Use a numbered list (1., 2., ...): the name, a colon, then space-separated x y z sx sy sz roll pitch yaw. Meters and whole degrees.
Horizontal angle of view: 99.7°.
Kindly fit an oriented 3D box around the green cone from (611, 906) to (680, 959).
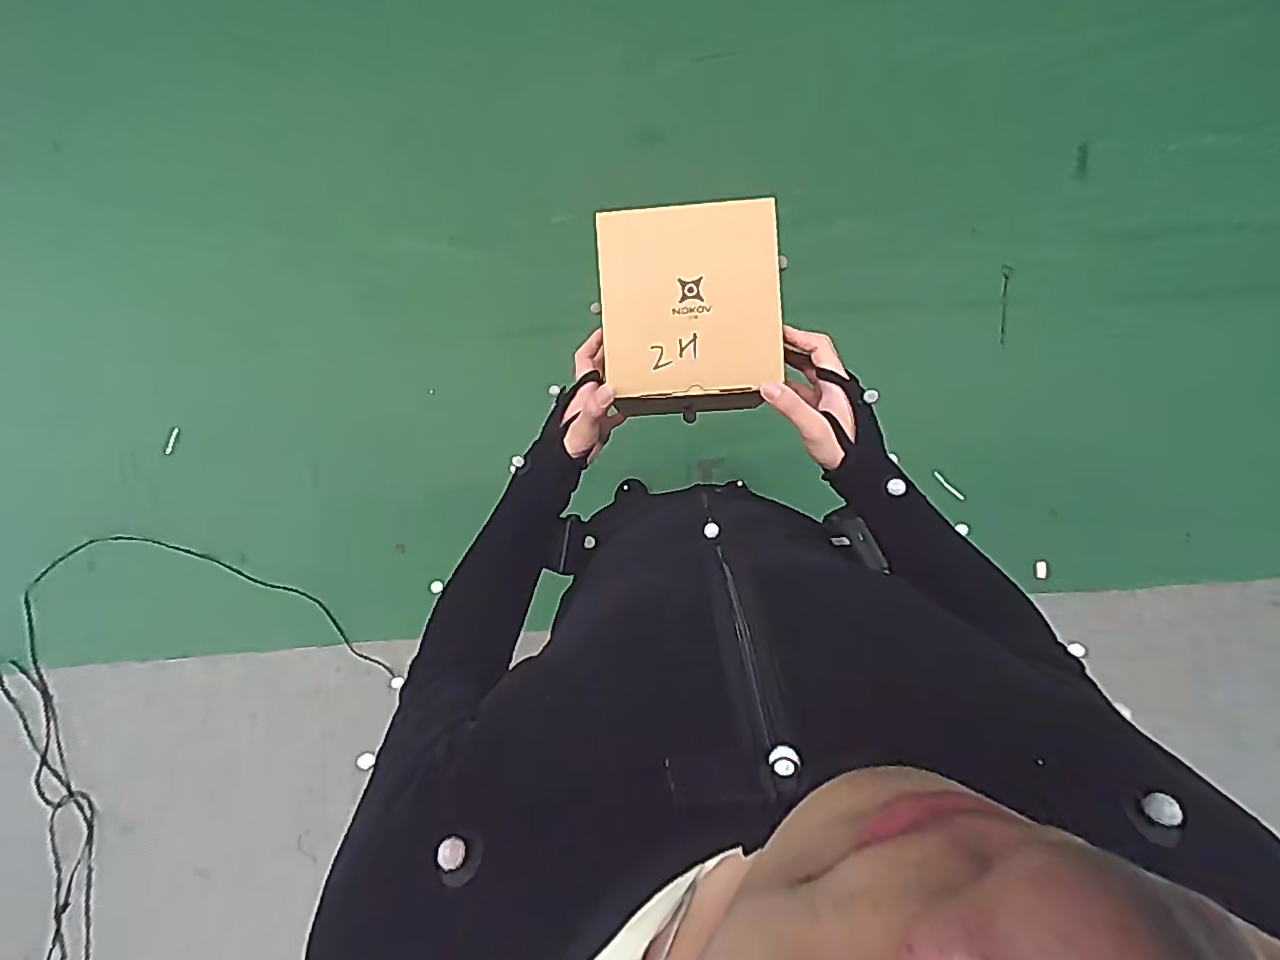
1. green cone: 0.008 1.380 1.453 0.202 0.368 0.200 -4 90 3
